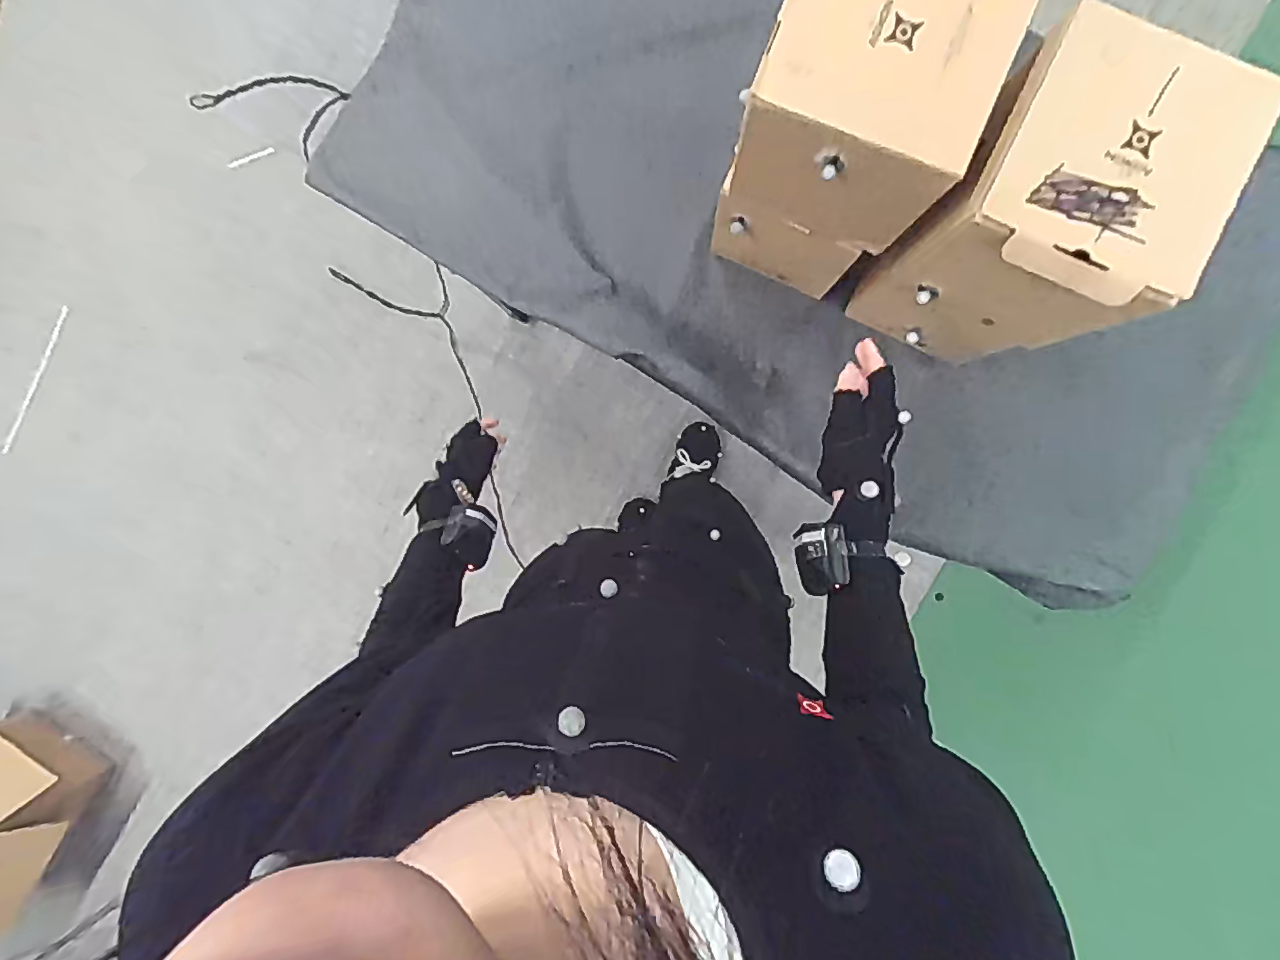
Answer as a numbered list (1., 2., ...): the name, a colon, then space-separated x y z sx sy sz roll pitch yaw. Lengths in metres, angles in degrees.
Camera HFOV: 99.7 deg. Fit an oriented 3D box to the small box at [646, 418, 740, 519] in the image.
1. small box: 0.129 -0.027 1.405 0.179 0.176 0.168 -22 59 -18
